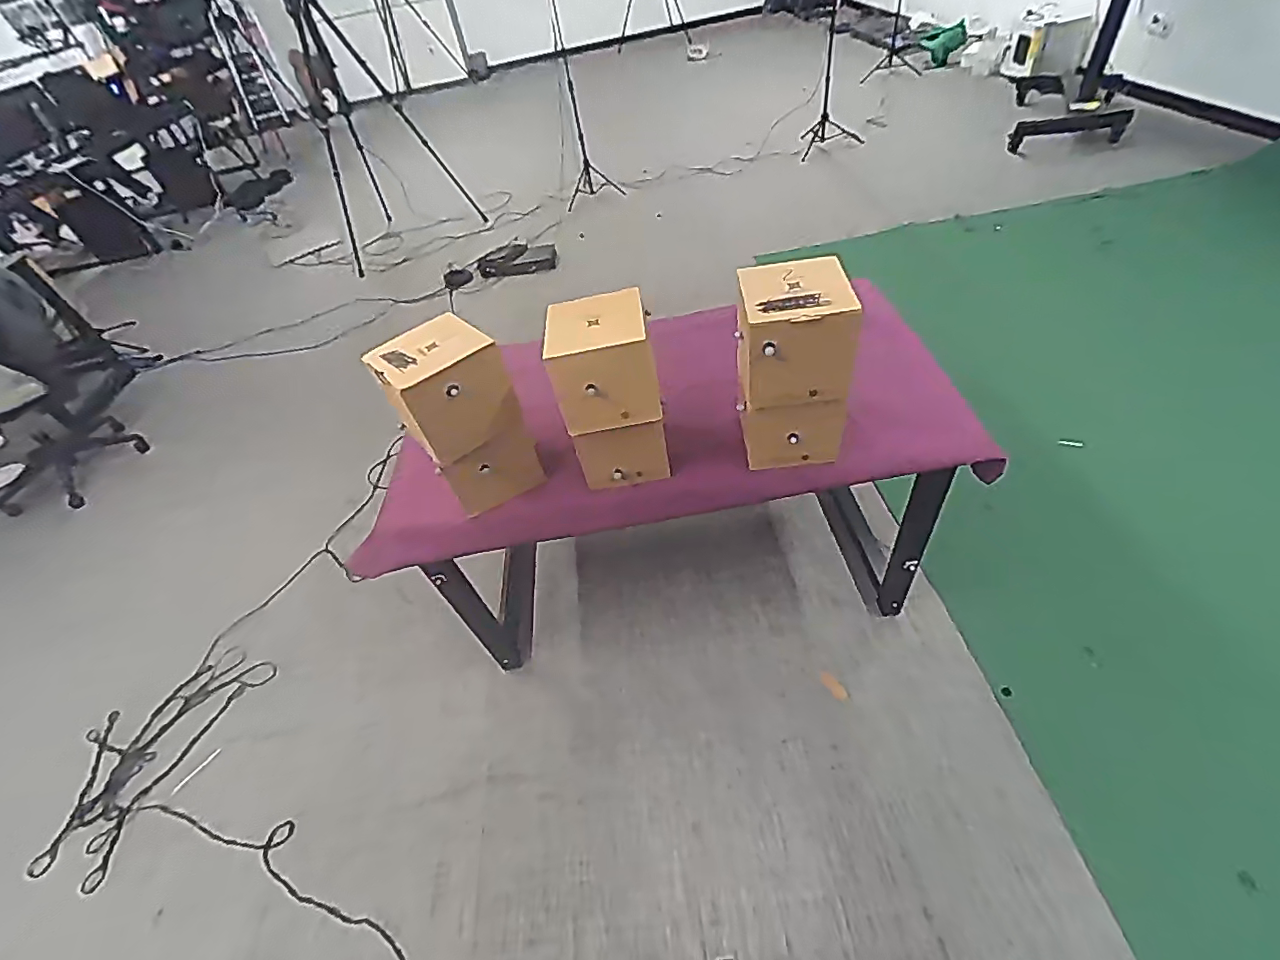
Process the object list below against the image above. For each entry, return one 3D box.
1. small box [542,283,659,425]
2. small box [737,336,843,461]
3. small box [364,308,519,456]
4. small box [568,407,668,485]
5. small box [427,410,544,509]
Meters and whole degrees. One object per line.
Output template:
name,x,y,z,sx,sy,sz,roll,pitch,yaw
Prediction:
small box,-0.063,-0.212,0.944,0.168,0.176,0.179,-10,45,4
small box,0.279,-0.149,1.038,0.168,0.176,0.179,-5,47,6
small box,-0.343,-0.172,0.958,0.179,0.176,0.168,-36,51,-23
small box,-0.041,-0.114,1.073,0.168,0.176,0.179,-9,46,4
small box,-0.318,-0.072,1.088,0.179,0.176,0.168,-28,49,-14
